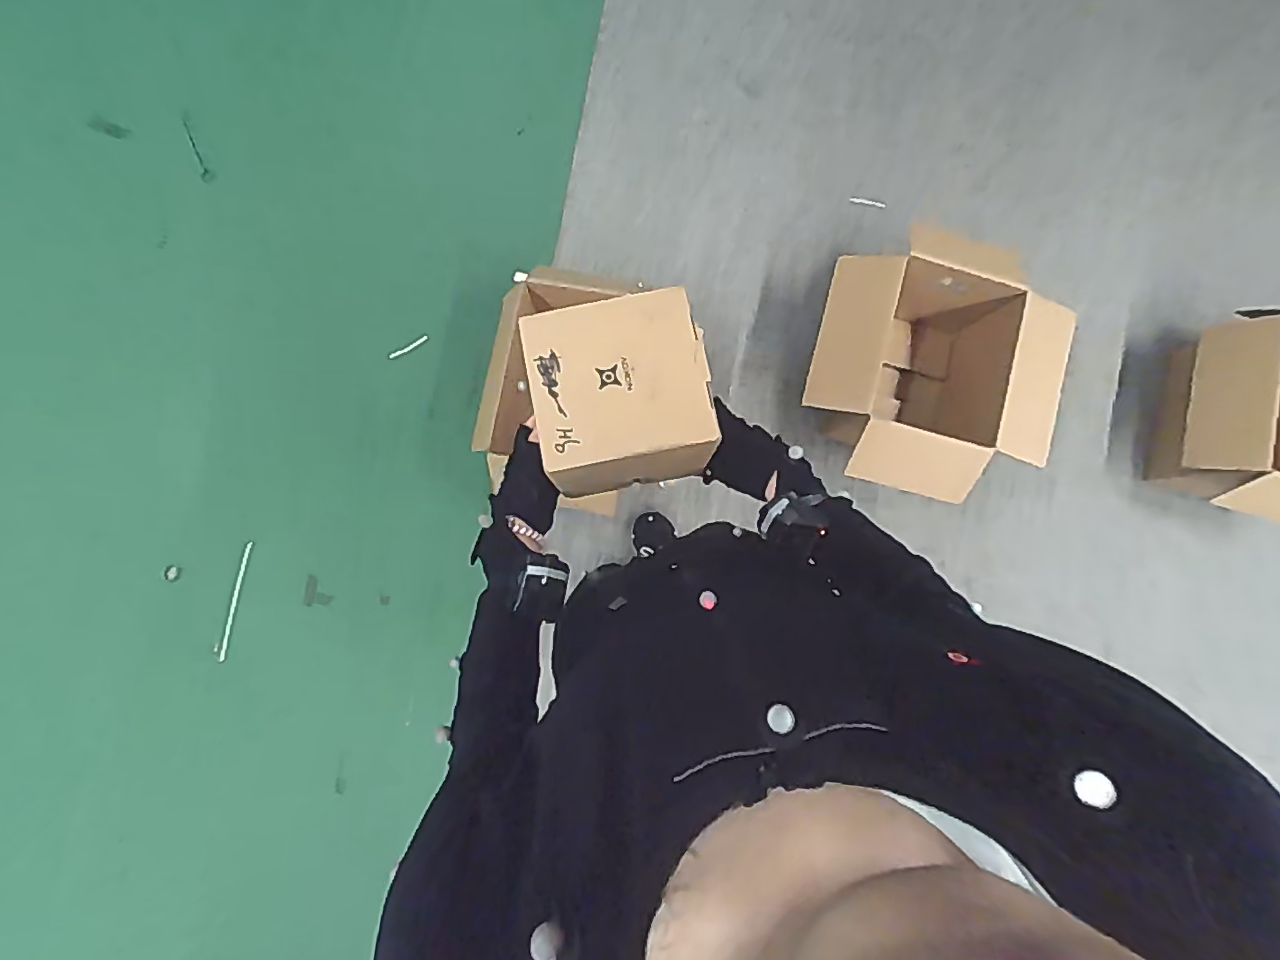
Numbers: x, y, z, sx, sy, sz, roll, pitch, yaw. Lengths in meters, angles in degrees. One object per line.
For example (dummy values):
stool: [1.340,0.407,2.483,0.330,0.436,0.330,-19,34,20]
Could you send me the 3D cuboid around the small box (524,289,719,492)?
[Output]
small box: [-0.023,-0.090,0.615,0.179,0.176,0.168,-10,79,-3]
